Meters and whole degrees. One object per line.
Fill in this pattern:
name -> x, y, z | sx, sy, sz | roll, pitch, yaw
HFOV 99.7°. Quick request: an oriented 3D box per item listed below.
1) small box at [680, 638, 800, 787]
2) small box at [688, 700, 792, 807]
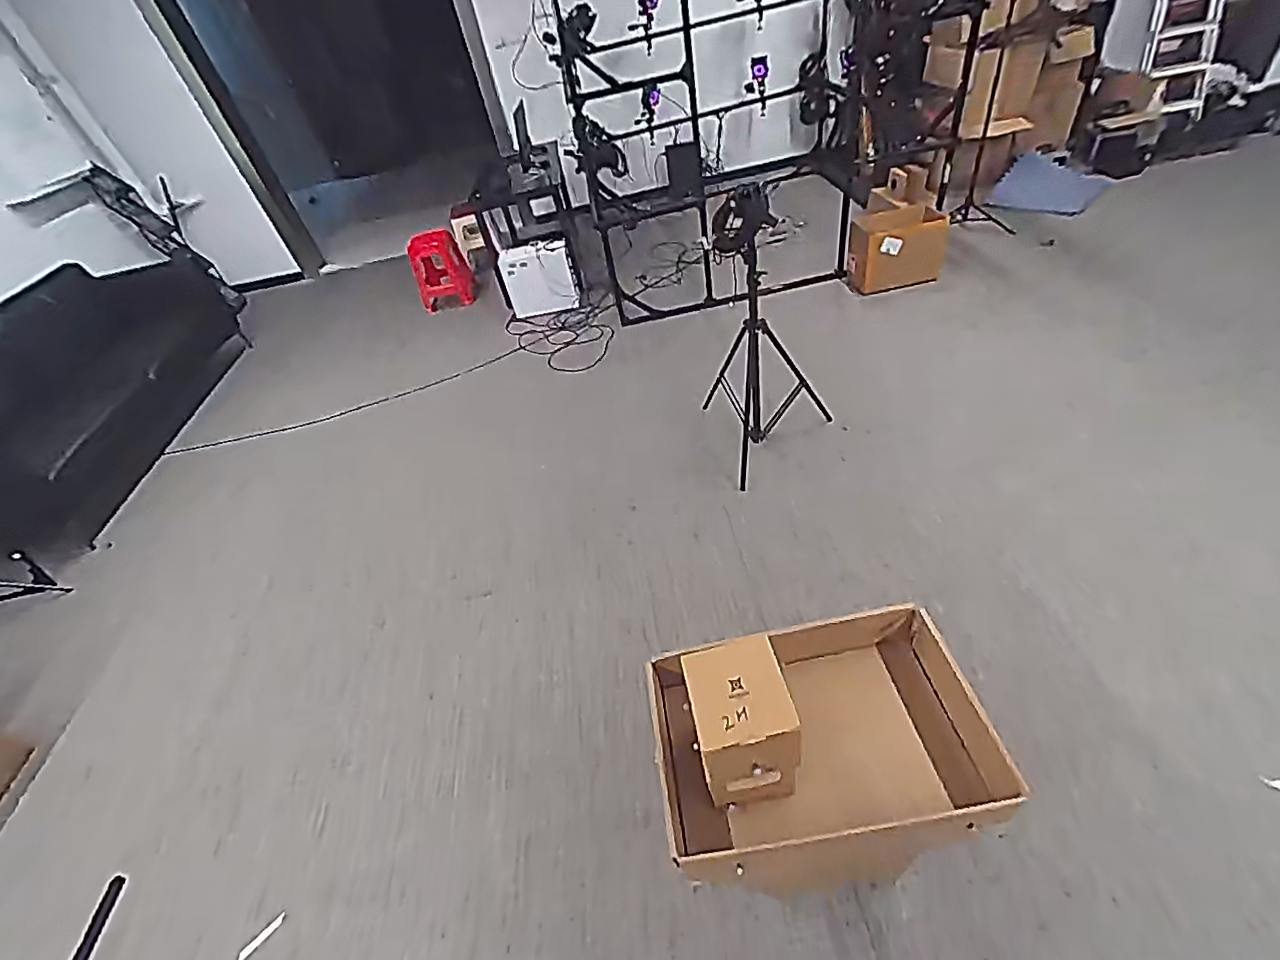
small box -> 0.177, 0.419, 0.974 | 0.168, 0.176, 0.179 | -14, 43, 1
small box -> 0.202, 0.535, 1.089 | 0.168, 0.176, 0.179 | -13, 42, 2
